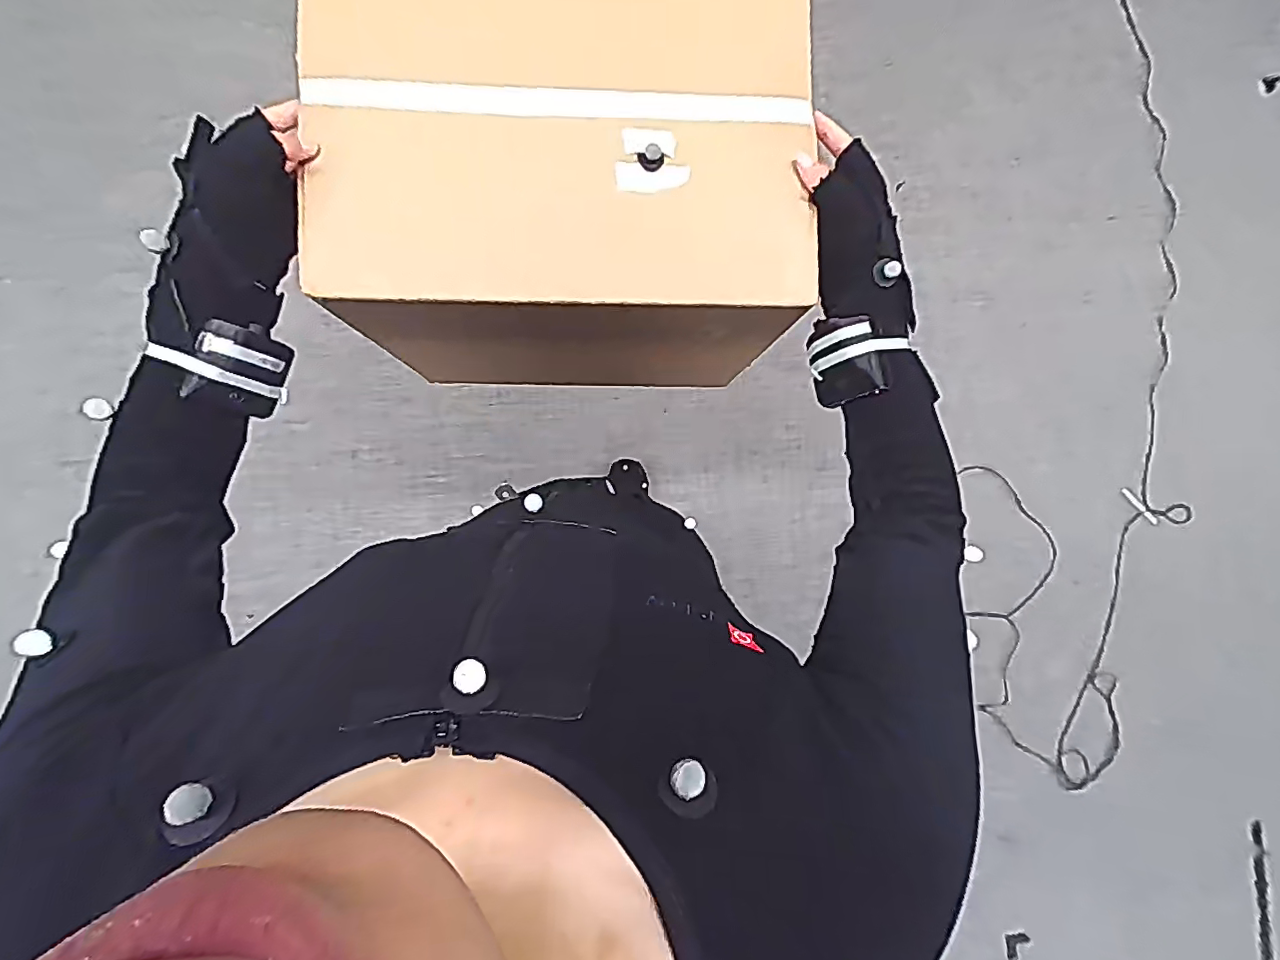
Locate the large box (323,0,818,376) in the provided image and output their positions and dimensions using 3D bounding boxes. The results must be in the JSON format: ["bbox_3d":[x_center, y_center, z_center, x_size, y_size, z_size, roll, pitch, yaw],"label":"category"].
[{"bbox_3d":[-0.066,-0.302,0.590,0.408,0.320,0.320,-1,89,-5],"label":"large box"}]
